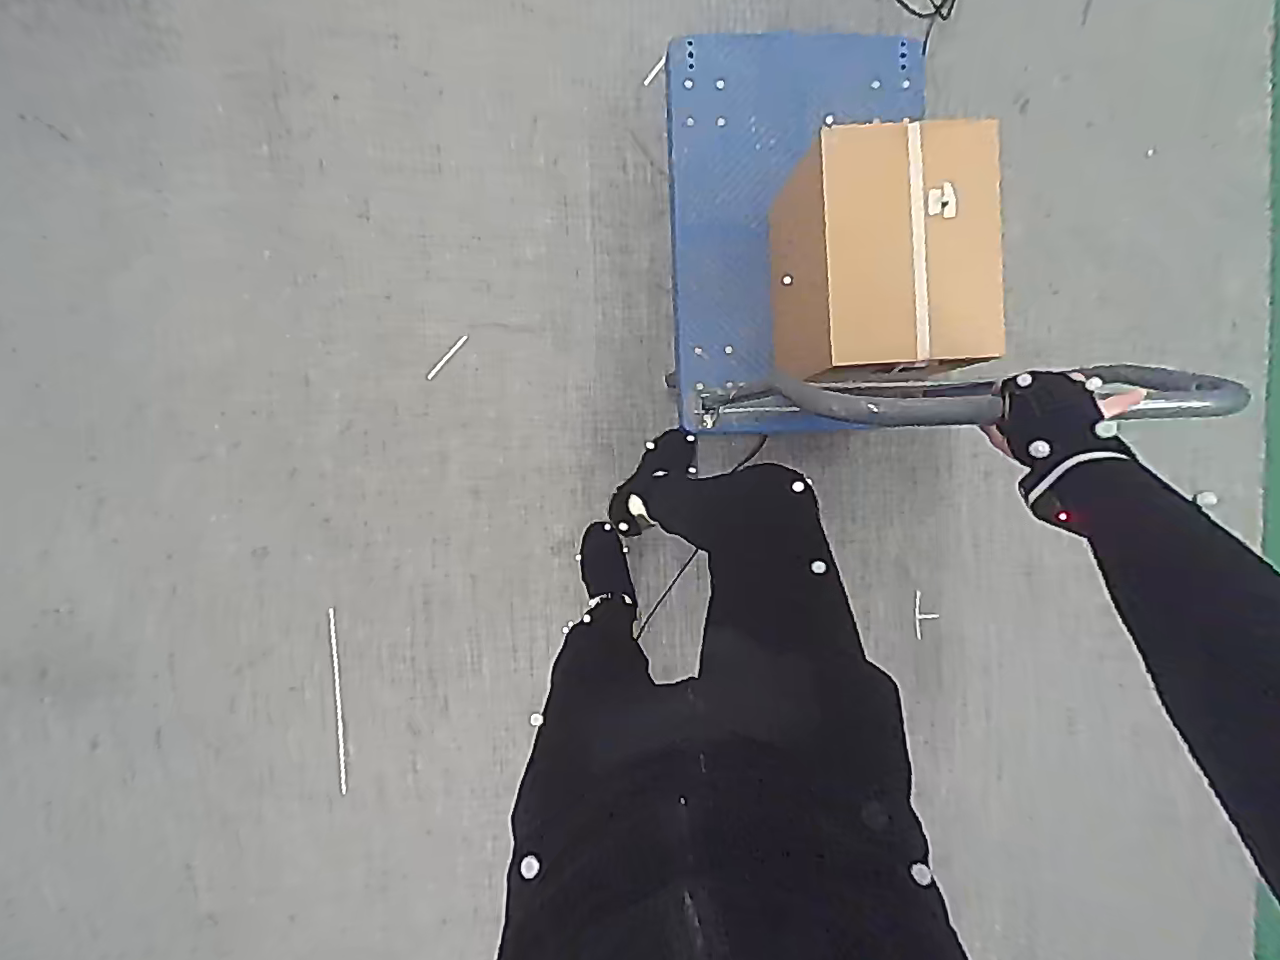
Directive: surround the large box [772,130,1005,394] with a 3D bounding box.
[{"bbox_3d":[0.464,-0.399,1.079,0.320,0.320,0.408,-4,91,-4],"label":"large box"}]
